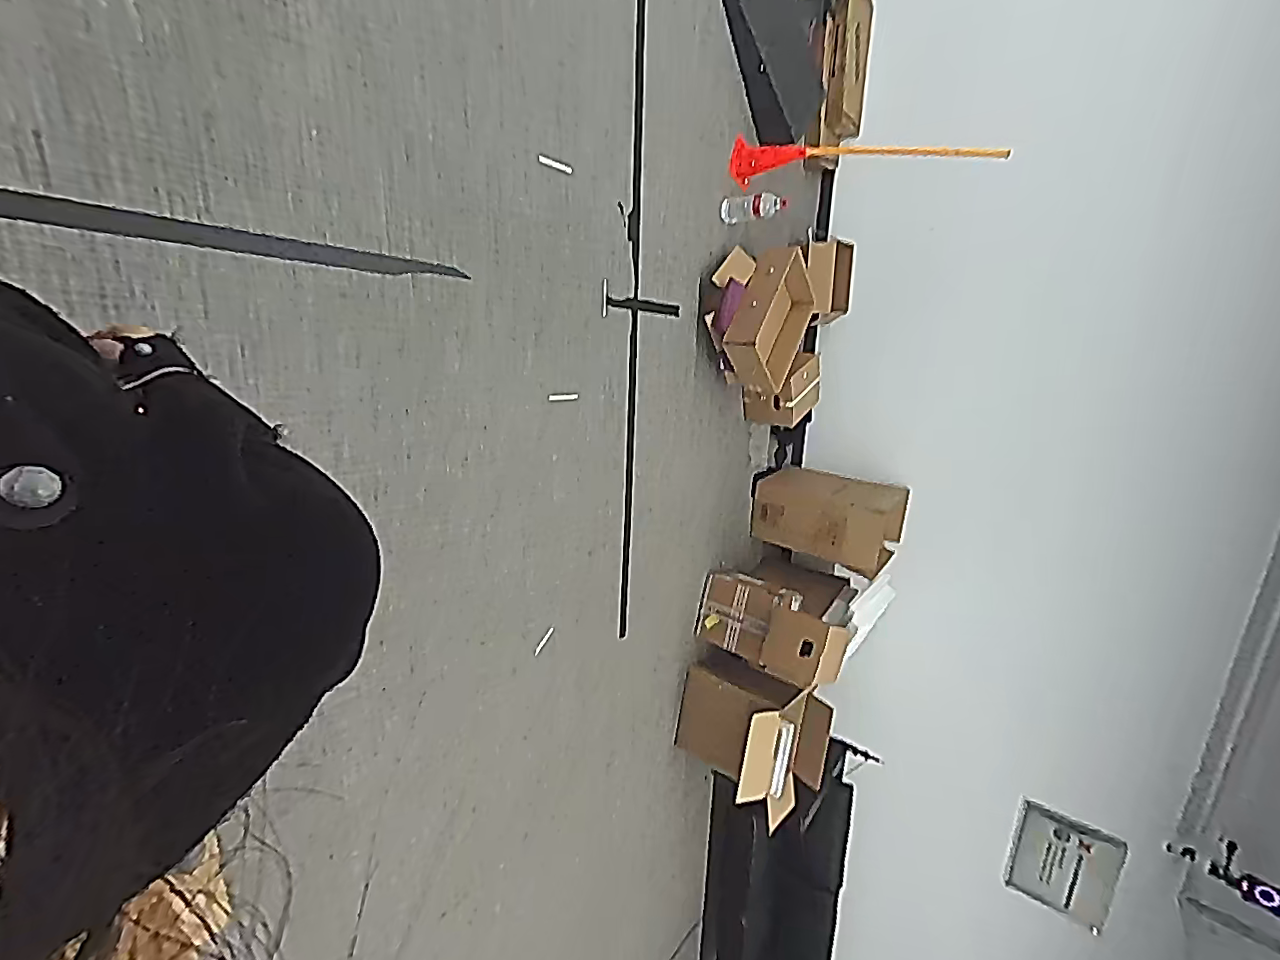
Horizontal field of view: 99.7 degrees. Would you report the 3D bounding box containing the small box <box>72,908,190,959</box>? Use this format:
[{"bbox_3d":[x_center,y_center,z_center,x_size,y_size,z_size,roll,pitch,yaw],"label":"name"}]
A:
[{"bbox_3d":[-1.036,1.035,1.088,0.179,0.176,0.168,-11,109,-53],"label":"small box"}]

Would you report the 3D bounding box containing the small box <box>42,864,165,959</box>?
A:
[{"bbox_3d":[-1.167,1.005,1.183,0.179,0.176,0.168,-13,110,-52],"label":"small box"}]
